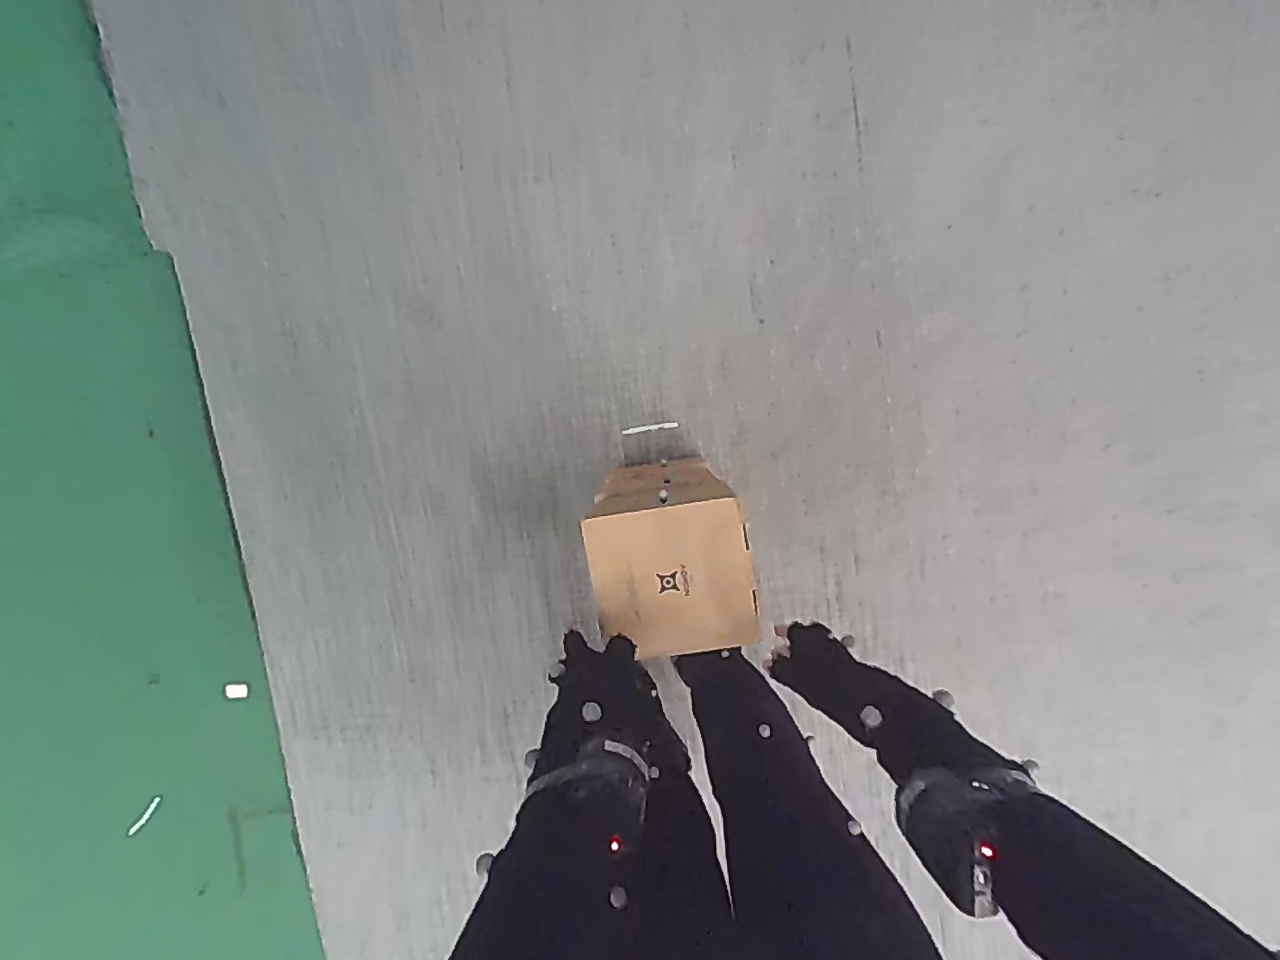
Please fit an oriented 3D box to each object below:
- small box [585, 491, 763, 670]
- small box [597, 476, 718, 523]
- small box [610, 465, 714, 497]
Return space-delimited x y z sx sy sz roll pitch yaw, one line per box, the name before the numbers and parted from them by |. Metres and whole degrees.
small box | 0.042 0.112 0.668 0.179 0.176 0.168 -10 94 5
small box | 0.042 0.094 0.833 0.179 0.176 0.168 -10 96 5
small box | 0.050 0.067 0.991 0.179 0.176 0.168 -9 94 6
